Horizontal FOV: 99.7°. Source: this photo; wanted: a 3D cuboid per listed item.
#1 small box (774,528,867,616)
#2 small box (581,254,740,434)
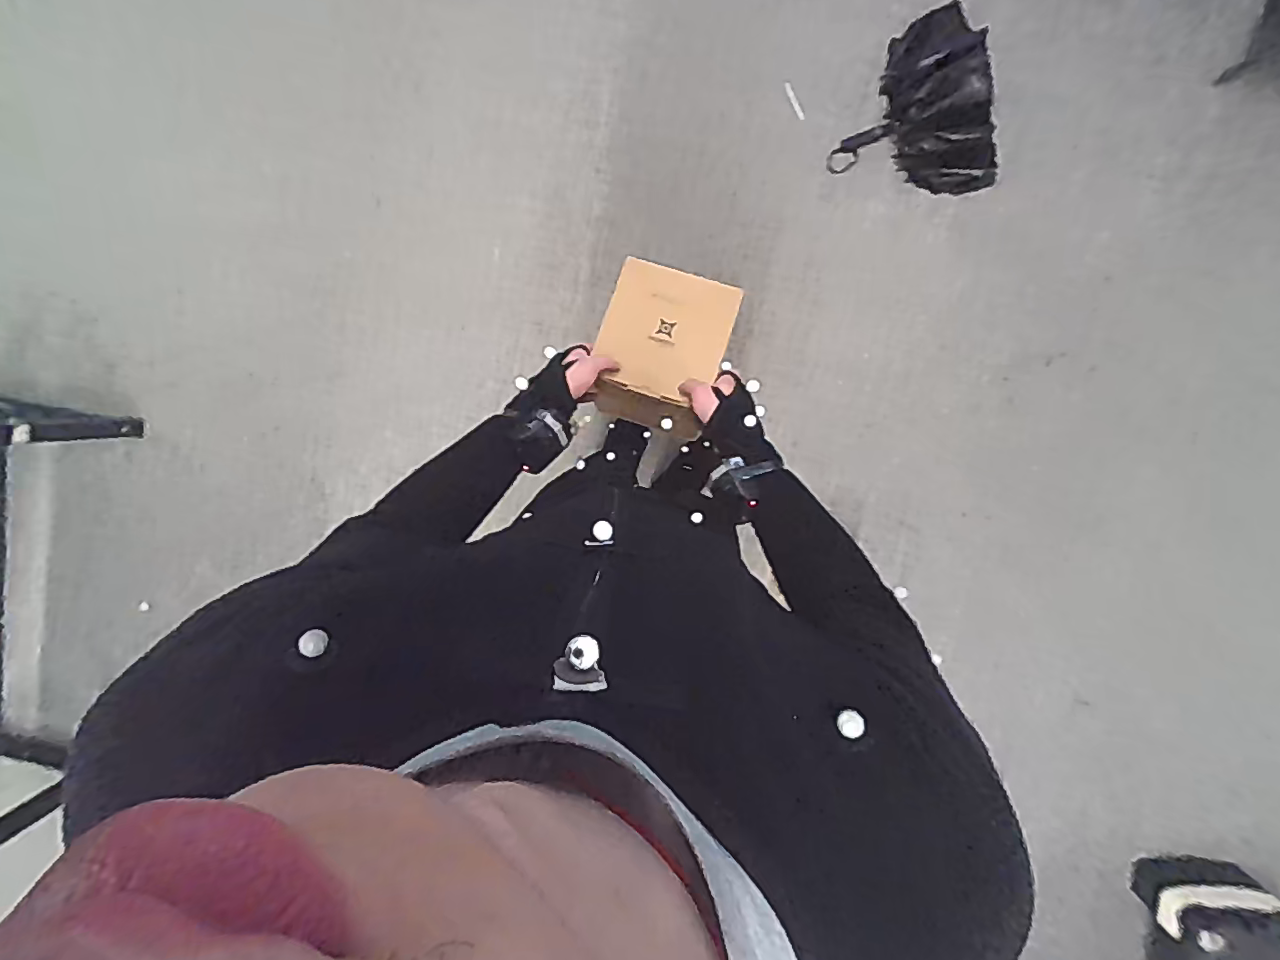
[{"bbox_3d":[0.476,0.238,1.450,0.179,0.176,0.168,15,99,5],"label":"small box"},{"bbox_3d":[0.030,-0.182,0.775,0.168,0.176,0.179,18,81,4],"label":"small box"}]
